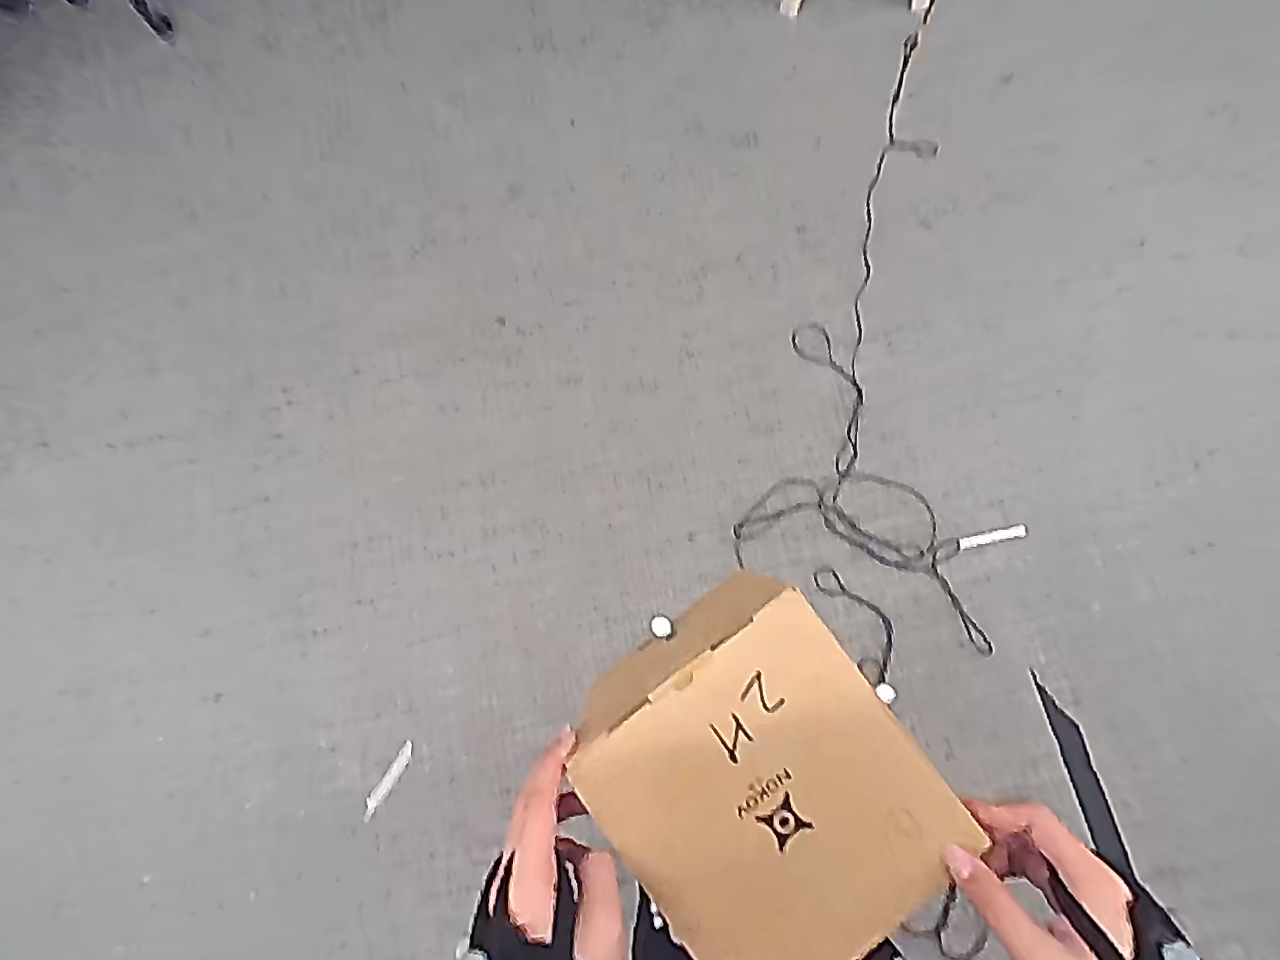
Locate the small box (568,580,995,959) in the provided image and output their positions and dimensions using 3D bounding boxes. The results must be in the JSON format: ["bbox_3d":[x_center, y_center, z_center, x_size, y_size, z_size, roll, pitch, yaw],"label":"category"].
[{"bbox_3d":[0.076,0.186,0.369,0.168,0.176,0.179,-37,85,-4],"label":"small box"}]
